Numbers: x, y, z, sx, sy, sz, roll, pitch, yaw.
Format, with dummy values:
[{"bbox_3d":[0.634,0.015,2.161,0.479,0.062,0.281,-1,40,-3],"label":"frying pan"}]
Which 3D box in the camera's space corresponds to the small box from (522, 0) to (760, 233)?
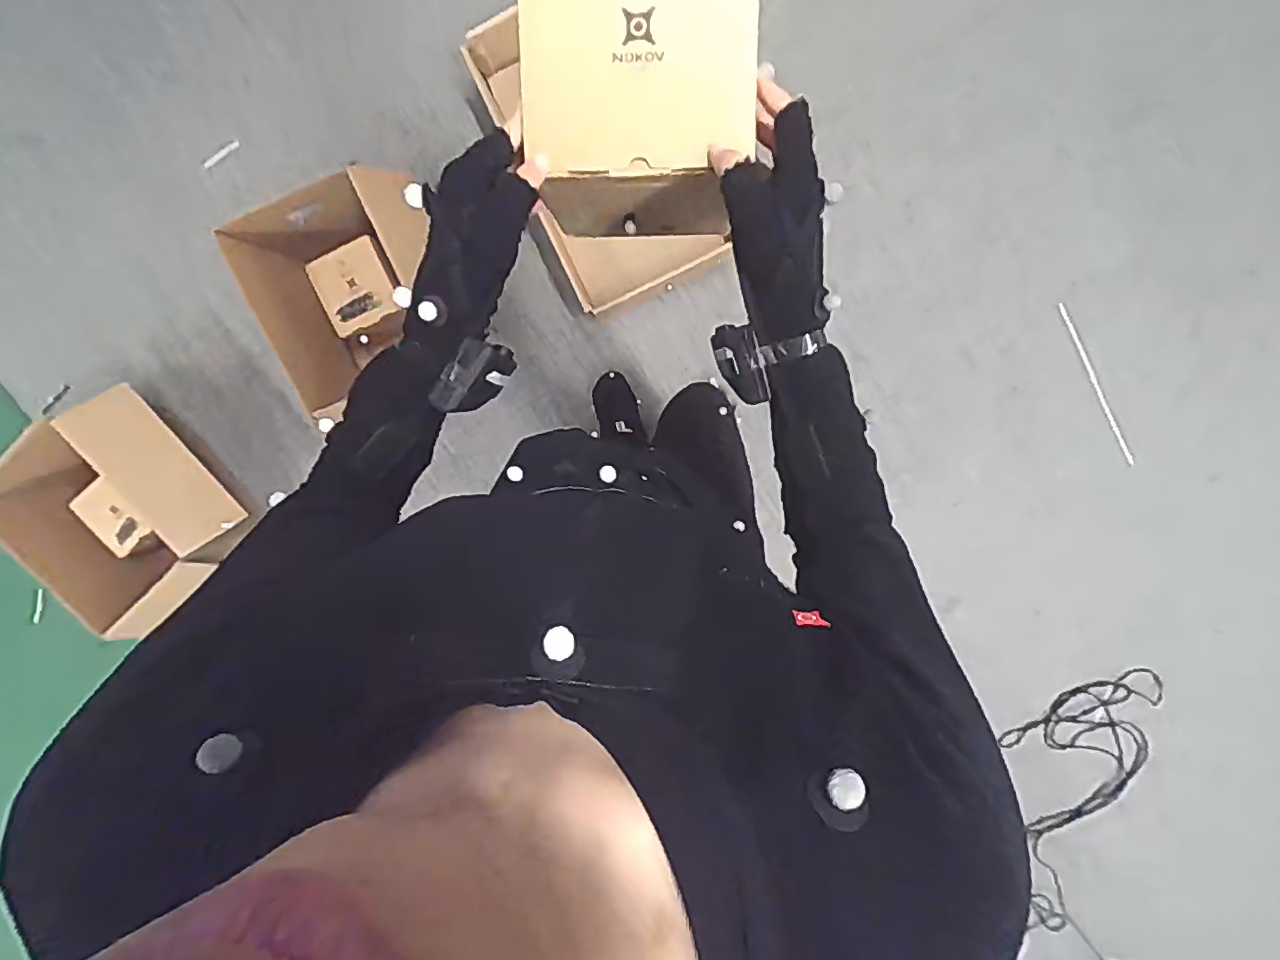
[{"bbox_3d":[0.003,-0.322,0.450,0.168,0.176,0.179,0,101,3],"label":"small box"}]
